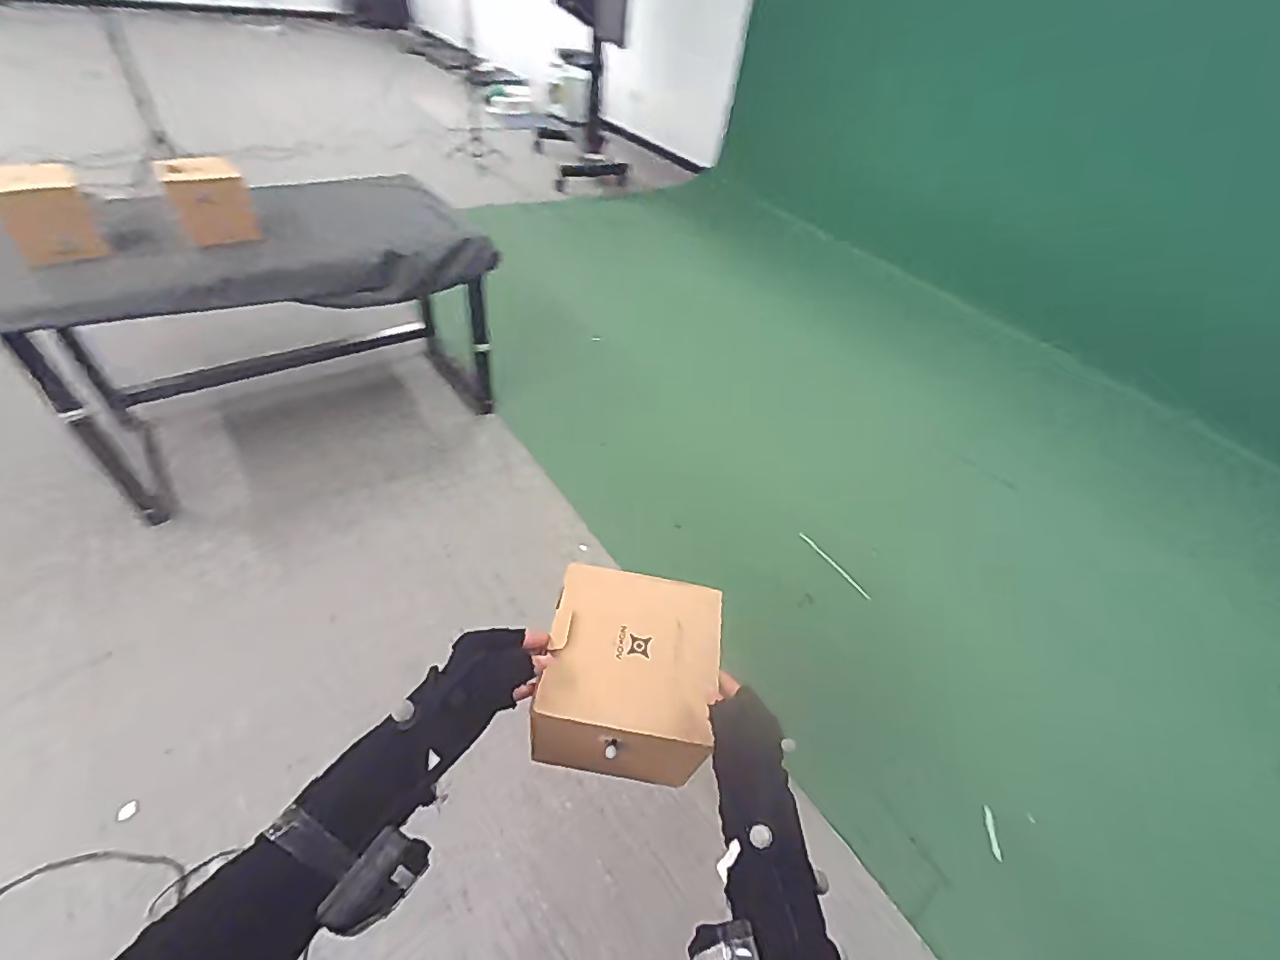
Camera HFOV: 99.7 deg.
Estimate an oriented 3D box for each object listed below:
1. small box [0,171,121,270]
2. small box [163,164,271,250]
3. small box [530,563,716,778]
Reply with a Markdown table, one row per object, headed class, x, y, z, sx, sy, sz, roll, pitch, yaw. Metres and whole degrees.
| class | x | y | z | sx | sy | sz | roll | pitch | yaw |
| --- | --- | --- | --- | --- | --- | --- | --- | --- | --- |
| small box | -1.435 | -0.641 | 1.335 | 0.179 | 0.176 | 0.168 | -27 | 55 | -33 |
| small box | -1.167 | -0.754 | 1.499 | 0.179 | 0.176 | 0.168 | -24 | 54 | -31 |
| small box | -0.021 | 0.219 | 0.609 | 0.179 | 0.176 | 0.168 | 11 | 48 | -4 |
